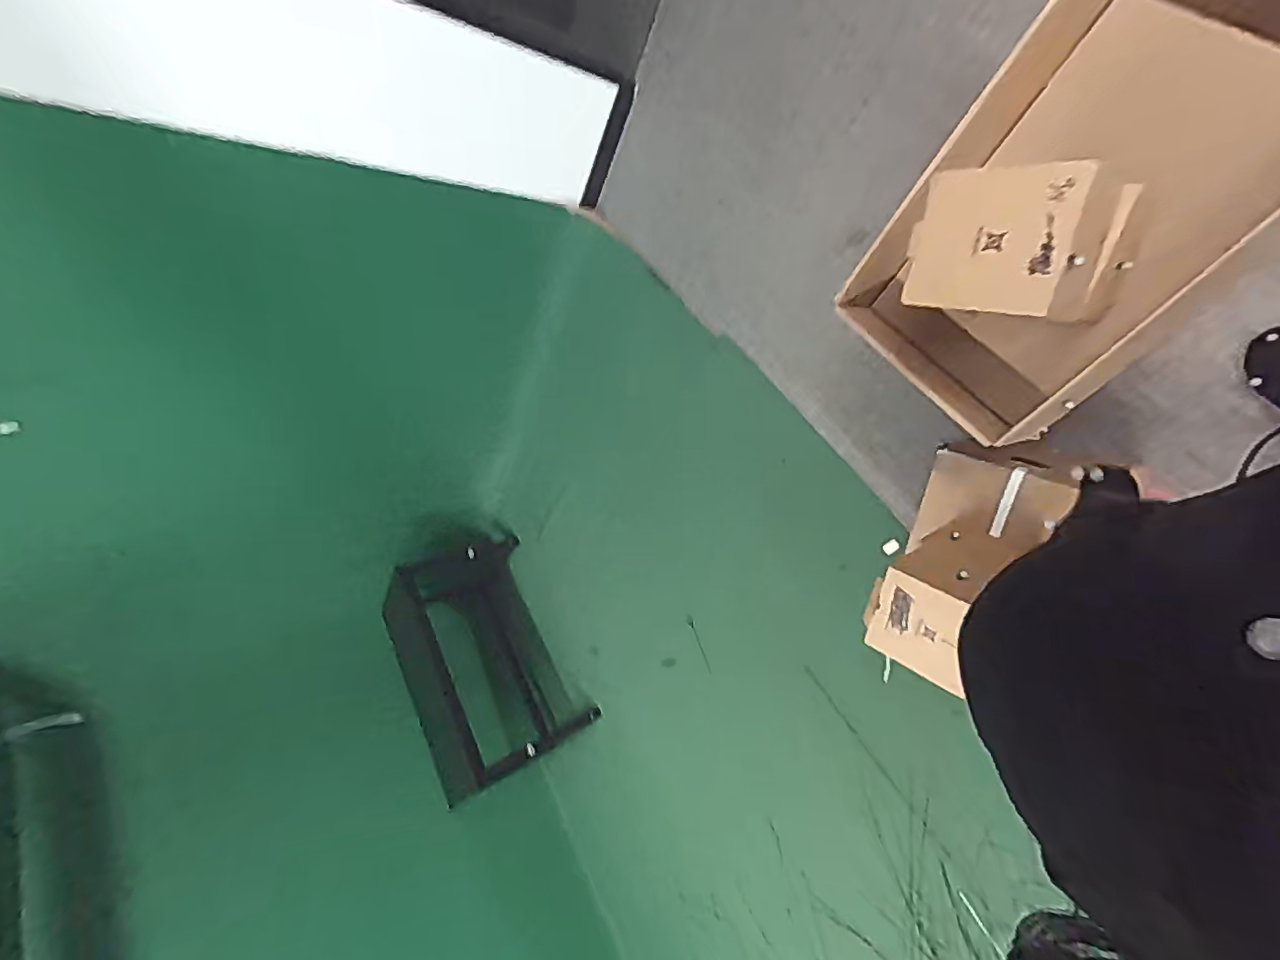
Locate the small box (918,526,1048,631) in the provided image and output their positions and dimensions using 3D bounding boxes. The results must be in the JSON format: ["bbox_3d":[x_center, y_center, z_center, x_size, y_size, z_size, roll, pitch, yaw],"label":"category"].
[{"bbox_3d":[0.660,0.200,1.065,0.179,0.176,0.168,22,117,45],"label":"small box"}]

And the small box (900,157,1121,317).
[{"bbox_3d":[0.486,-0.311,0.716,0.179,0.176,0.168,26,119,44],"label":"small box"}]

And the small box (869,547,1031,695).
[{"bbox_3d":[0.544,0.232,0.953,0.179,0.176,0.168,28,121,42],"label":"small box"}]

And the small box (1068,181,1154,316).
[{"bbox_3d":[0.617,-0.346,0.809,0.179,0.176,0.168,33,122,41],"label":"small box"}]
